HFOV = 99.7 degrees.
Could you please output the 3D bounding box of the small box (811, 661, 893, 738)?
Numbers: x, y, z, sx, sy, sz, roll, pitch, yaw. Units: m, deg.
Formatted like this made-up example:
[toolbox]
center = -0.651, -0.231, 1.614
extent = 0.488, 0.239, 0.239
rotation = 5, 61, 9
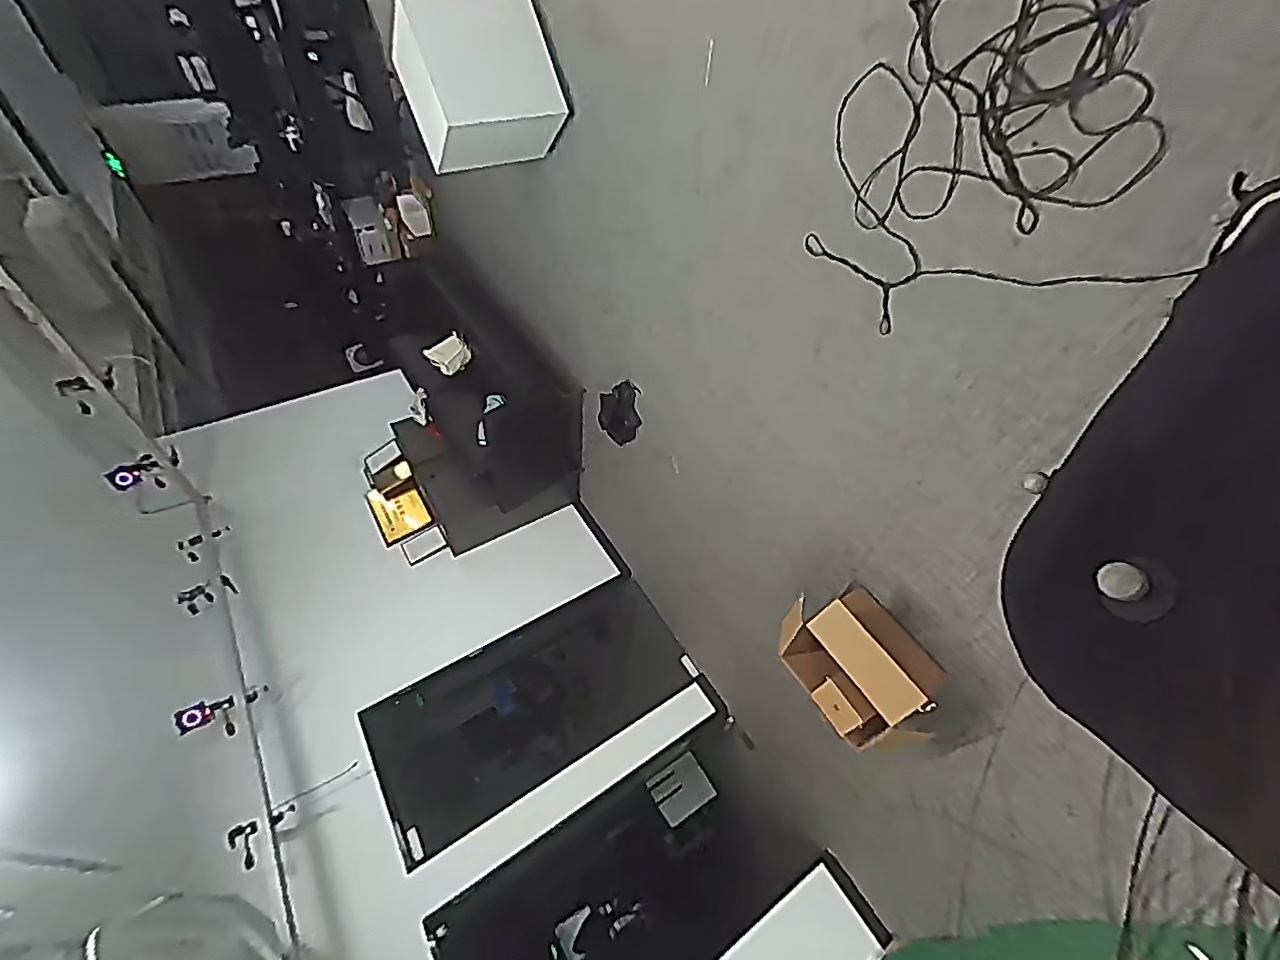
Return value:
[small box]
center = 0.741, 0.764, 1.887
extent = 0.168, 0.176, 0.179
rotation = 54, 150, 29
